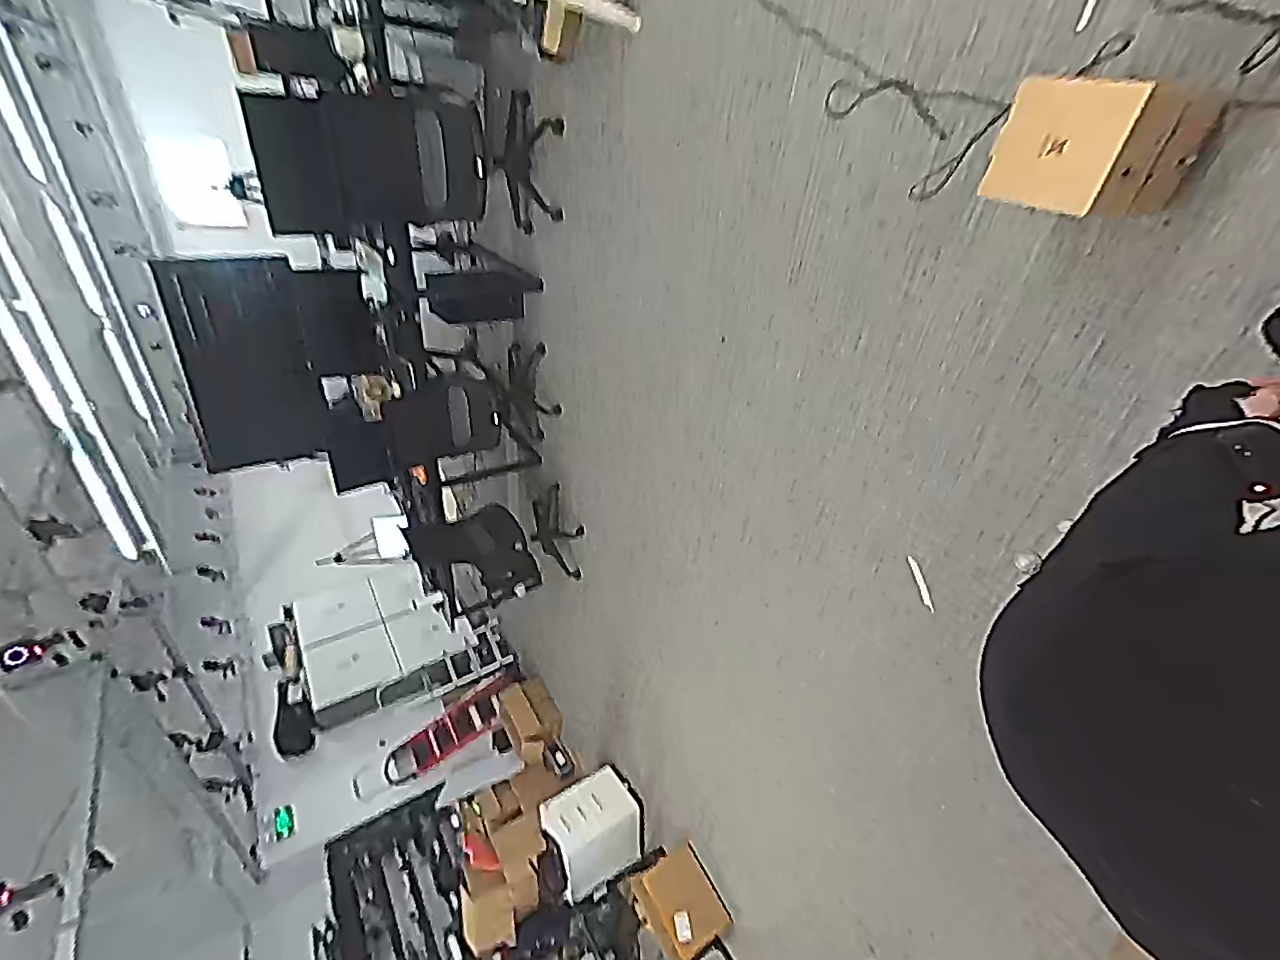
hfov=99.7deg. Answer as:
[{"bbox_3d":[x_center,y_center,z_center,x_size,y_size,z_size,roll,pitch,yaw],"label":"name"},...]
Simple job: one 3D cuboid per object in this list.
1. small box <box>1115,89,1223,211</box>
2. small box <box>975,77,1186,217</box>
[{"bbox_3d":[0.818,-0.567,0.925,0.179,0.176,0.168,43,140,40],"label":"small box"},{"bbox_3d":[0.683,-0.521,0.846,0.179,0.176,0.168,43,140,41],"label":"small box"}]
